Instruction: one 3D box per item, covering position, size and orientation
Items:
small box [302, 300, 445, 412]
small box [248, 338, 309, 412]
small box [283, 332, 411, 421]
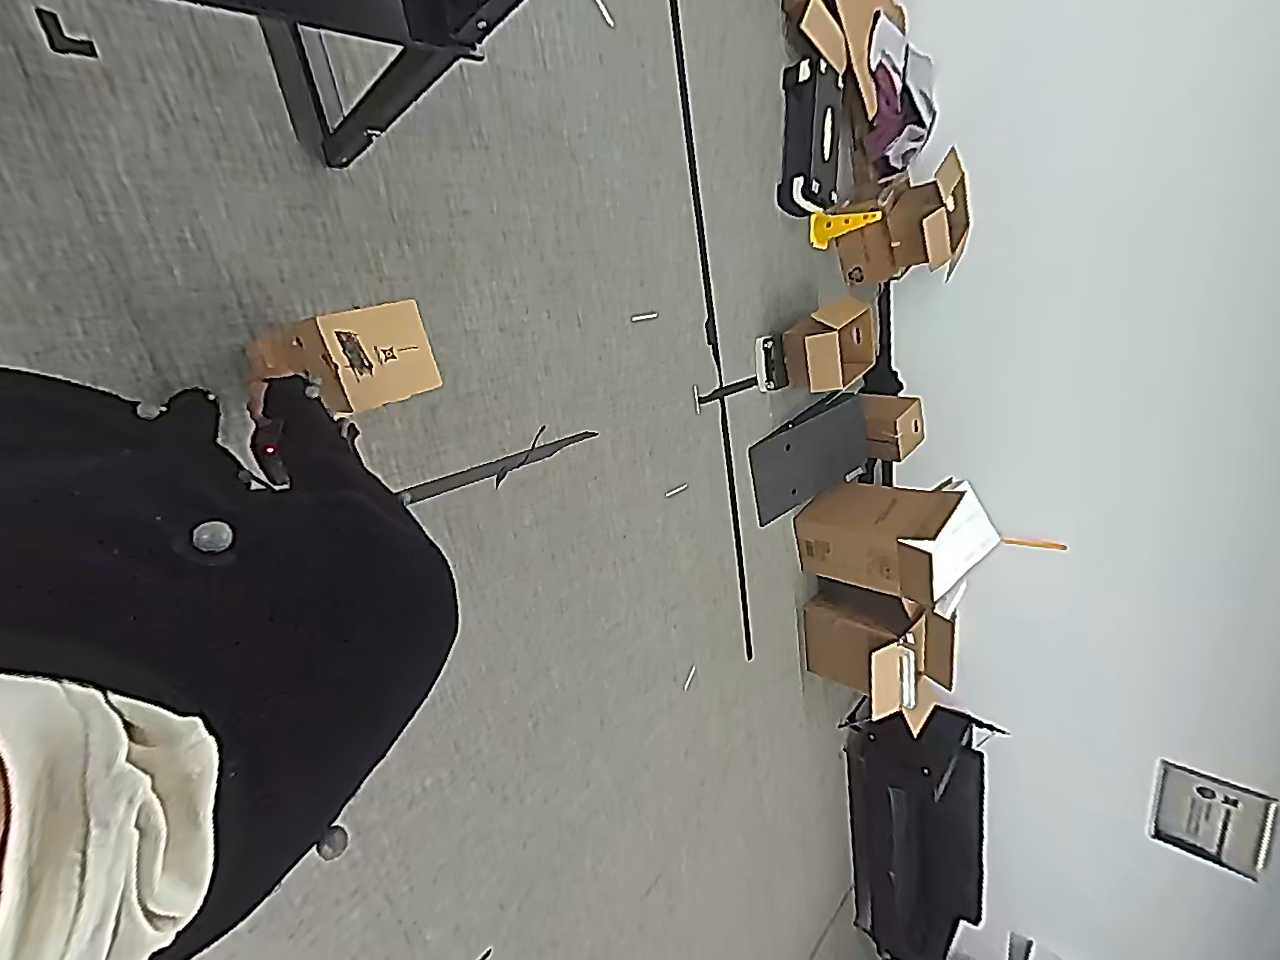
[{"bbox_3d":[-0.503,-0.229,1.010,0.179,0.176,0.168,-29,116,-38],"label":"small box"},{"bbox_3d":[-0.845,-0.276,1.360,0.179,0.176,0.168,-27,114,-39],"label":"small box"},{"bbox_3d":[-0.613,-0.233,1.134,0.168,0.176,0.179,-28,116,-38],"label":"small box"}]
